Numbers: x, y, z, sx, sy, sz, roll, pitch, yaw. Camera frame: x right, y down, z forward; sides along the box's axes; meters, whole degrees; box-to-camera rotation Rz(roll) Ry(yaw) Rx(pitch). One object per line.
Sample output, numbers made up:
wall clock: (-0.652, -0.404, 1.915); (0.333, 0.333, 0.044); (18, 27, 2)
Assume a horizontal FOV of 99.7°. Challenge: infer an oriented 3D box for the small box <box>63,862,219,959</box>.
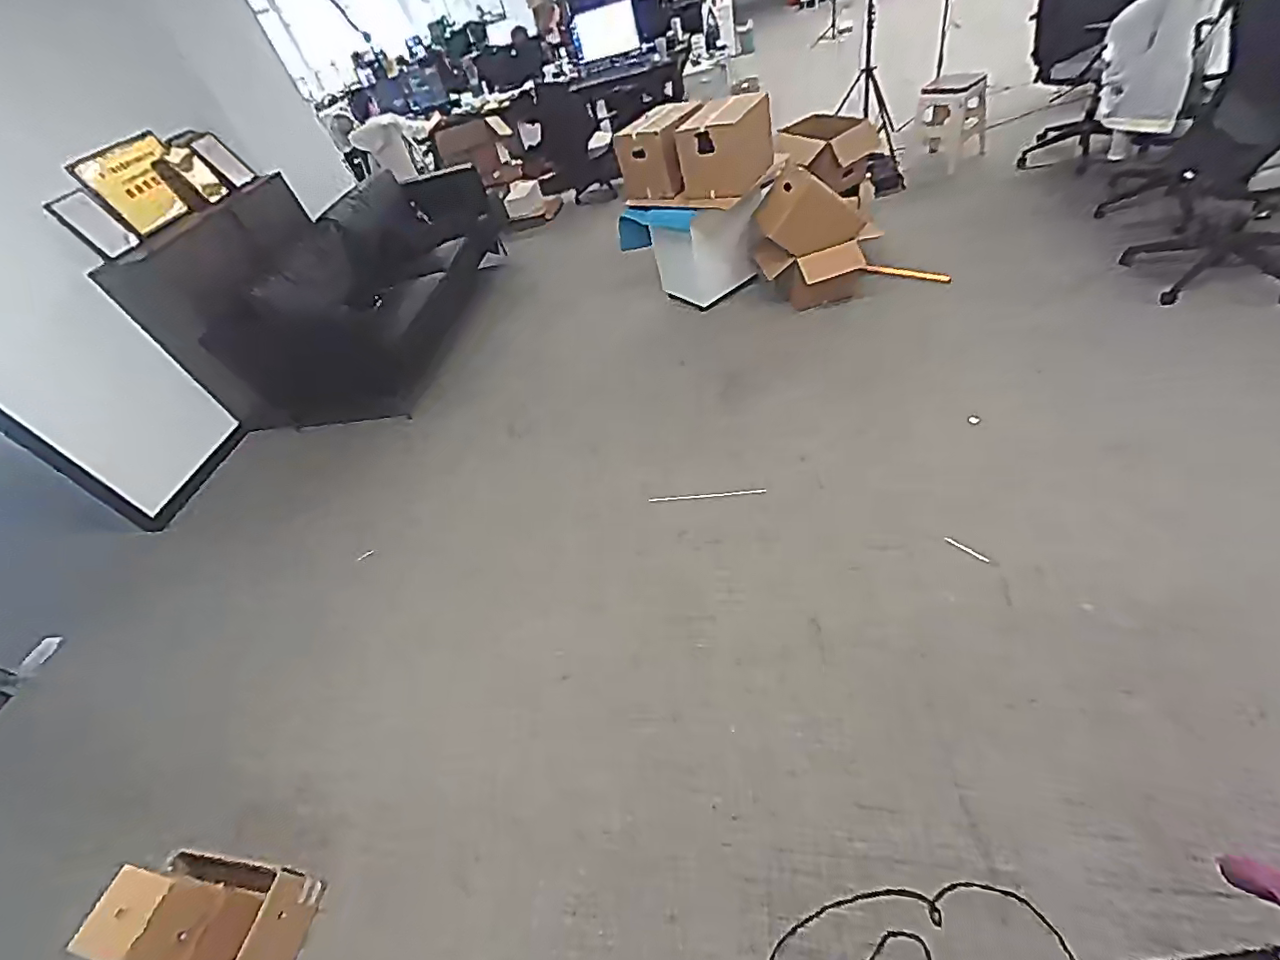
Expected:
small box: (-1.181, 1.047, 1.294); (0.179, 0.176, 0.168); (1, 47, 18)
